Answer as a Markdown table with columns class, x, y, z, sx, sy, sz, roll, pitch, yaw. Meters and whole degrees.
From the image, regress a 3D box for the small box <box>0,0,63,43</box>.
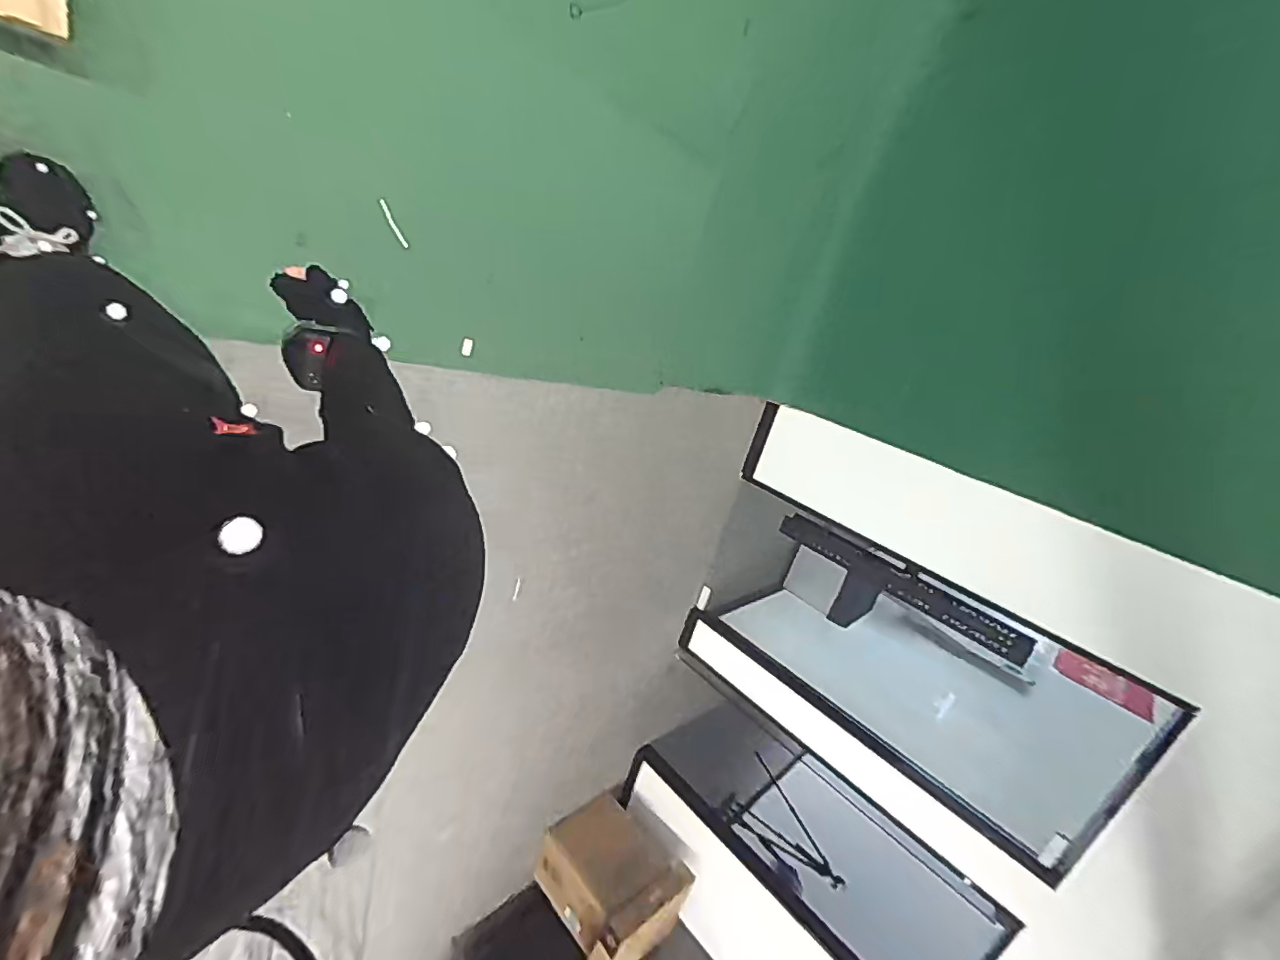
| class | x | y | z | sx | sy | sz | roll | pitch | yaw |
| --- | --- | --- | --- | --- | --- | --- | --- | --- | --- |
| small box | -0.933 | -0.752 | 0.752 | 0.168 | 0.176 | 0.179 | -5 | 119 | -48 |
